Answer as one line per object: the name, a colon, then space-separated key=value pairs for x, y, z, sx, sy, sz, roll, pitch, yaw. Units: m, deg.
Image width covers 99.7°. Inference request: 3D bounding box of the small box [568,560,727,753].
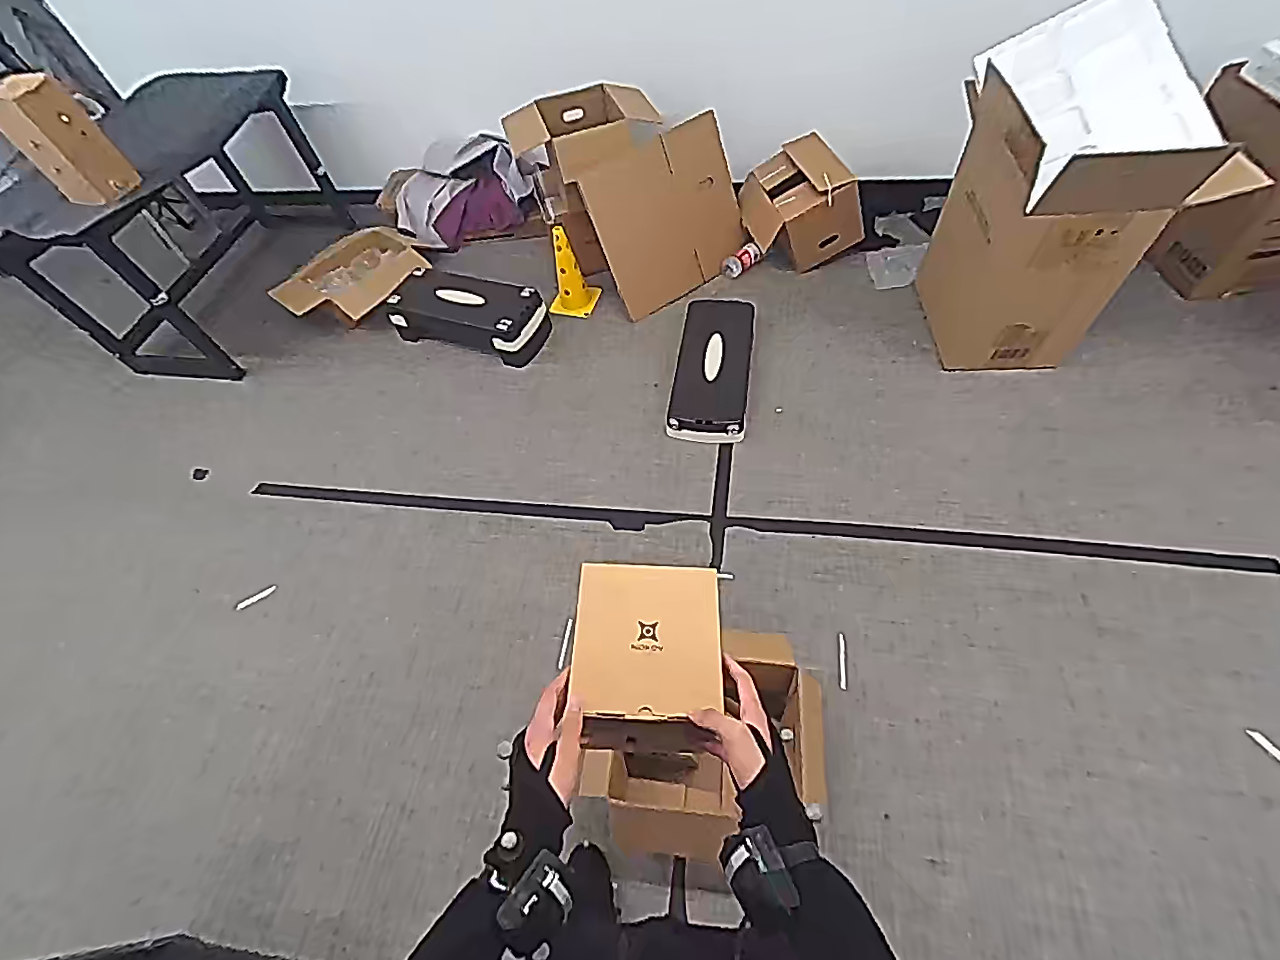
small box: x=0.007 y=0.217 z=0.660 sx=0.168 sy=0.176 sz=0.179 roll=3 pitch=53 yaw=0
